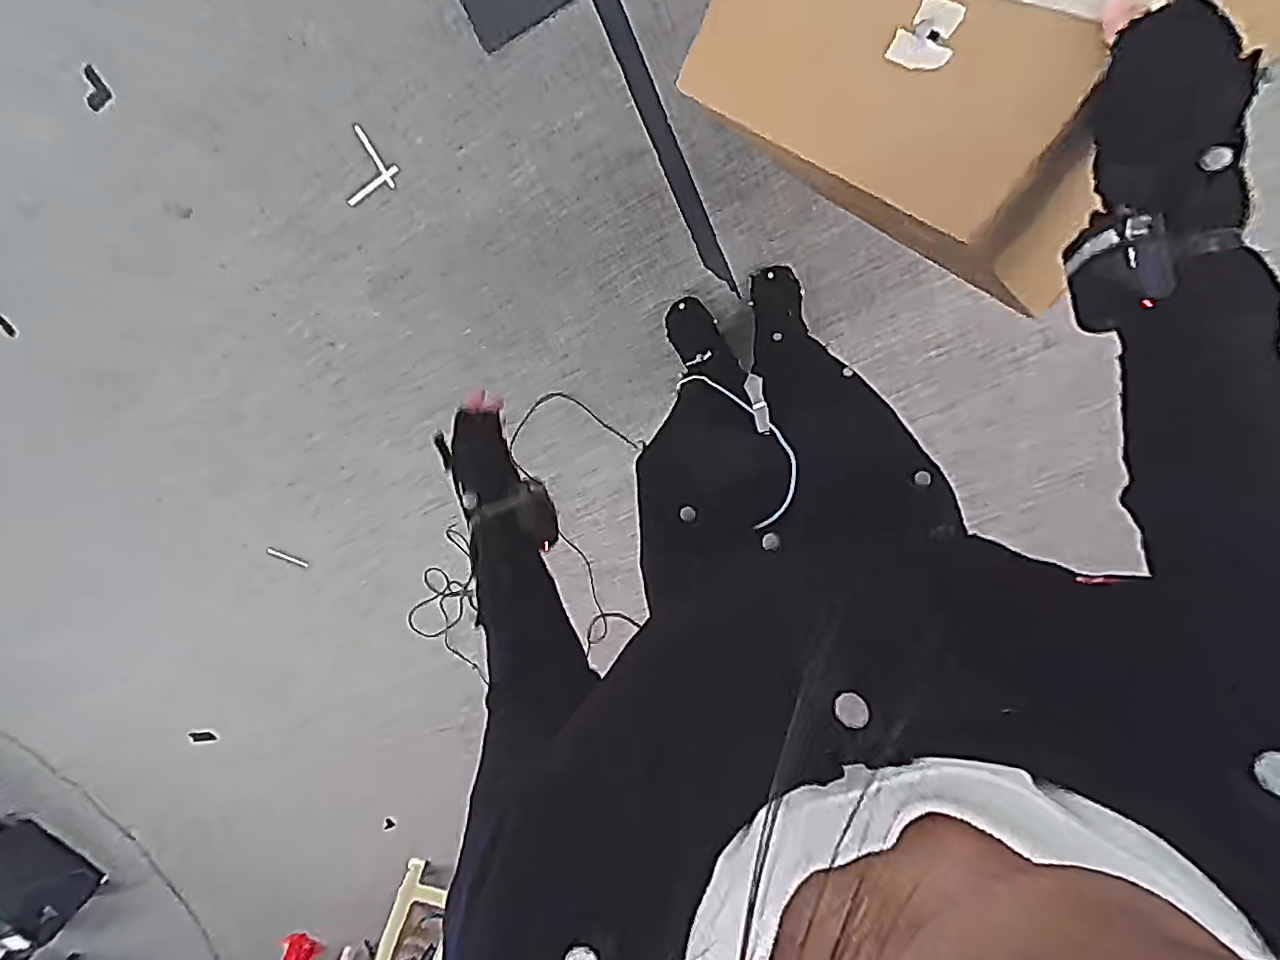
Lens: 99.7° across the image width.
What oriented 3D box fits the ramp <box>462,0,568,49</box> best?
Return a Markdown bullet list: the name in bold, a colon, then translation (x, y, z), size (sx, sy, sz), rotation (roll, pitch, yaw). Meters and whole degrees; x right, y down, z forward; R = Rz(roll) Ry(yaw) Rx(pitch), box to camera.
- **ramp**: translation (-0.311, -1.350, 0.817), size (0.509, 0.206, 0.991), rotation (-22, 111, 16)
